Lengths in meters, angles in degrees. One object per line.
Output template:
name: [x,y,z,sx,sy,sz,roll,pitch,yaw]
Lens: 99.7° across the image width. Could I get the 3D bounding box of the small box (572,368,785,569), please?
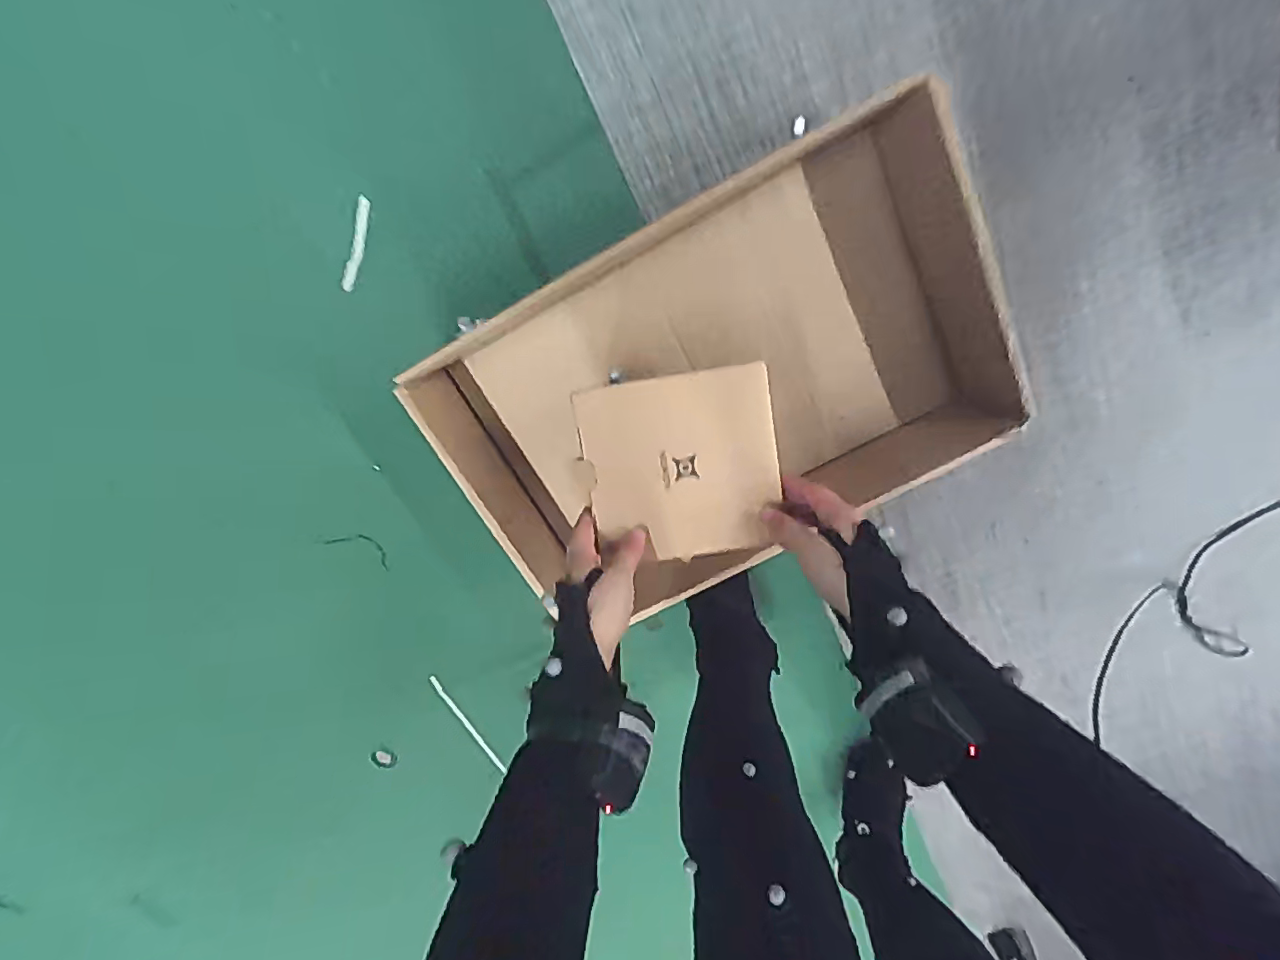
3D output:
small box: [0.038,-0.022,0.566,0.179,0.176,0.168,-9,99,4]
